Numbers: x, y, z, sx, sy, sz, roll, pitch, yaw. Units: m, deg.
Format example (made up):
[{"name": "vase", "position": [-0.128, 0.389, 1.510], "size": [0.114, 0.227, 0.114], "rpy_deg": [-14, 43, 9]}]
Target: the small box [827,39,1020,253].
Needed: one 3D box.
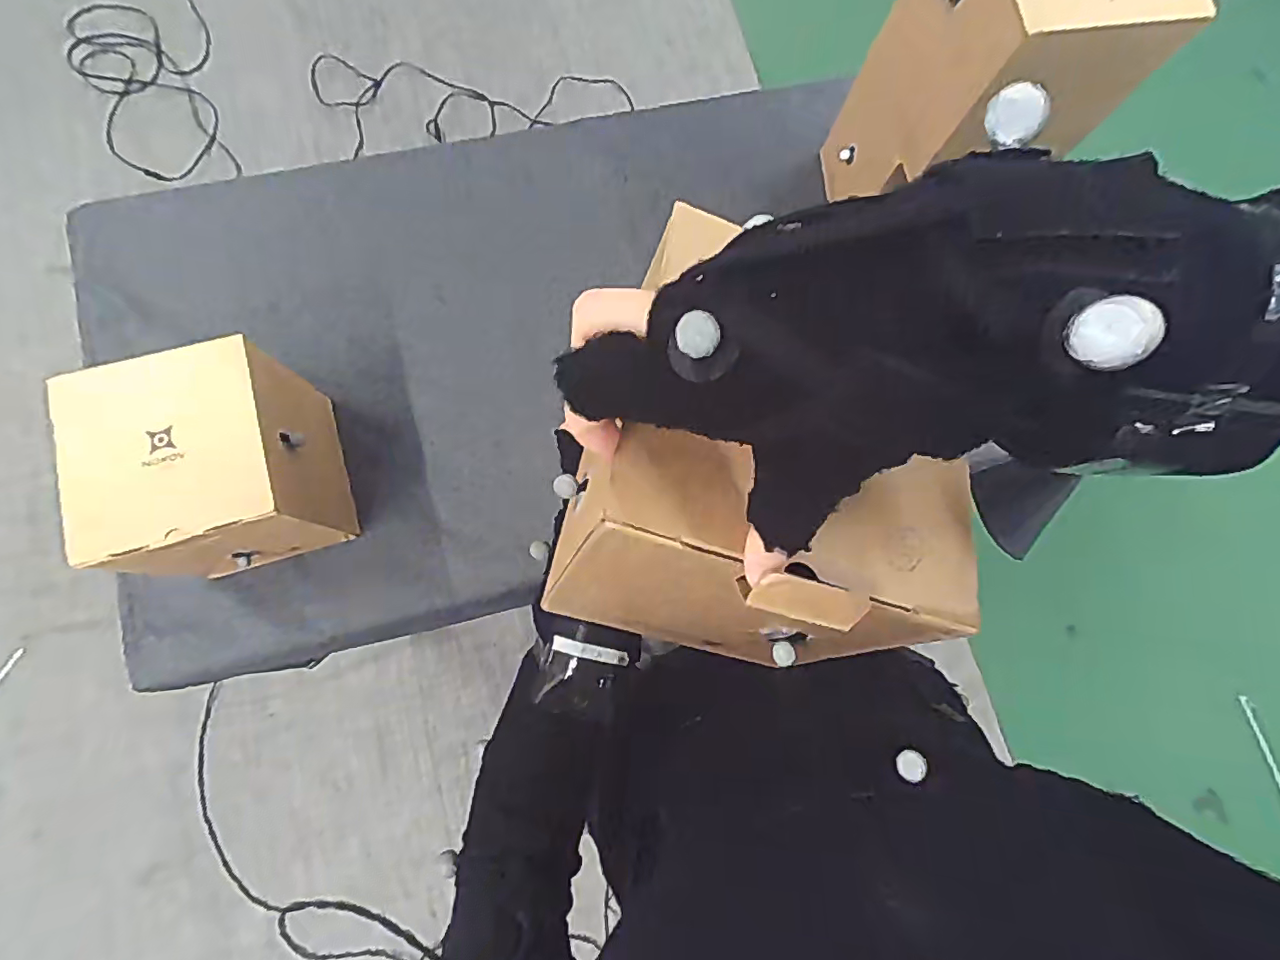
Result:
[{"name": "small box", "position": [0.350, -0.406, 0.679], "size": [0.179, 0.176, 0.168], "rpy_deg": [-3, 79, -4]}]

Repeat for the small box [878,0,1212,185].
[{"name": "small box", "position": [0.355, -0.420, 0.515], "size": [0.168, 0.176, 0.179], "rpy_deg": [-9, 80, -5]}]

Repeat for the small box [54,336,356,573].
[{"name": "small box", "position": [-0.417, -0.014, 0.547], "size": [0.168, 0.176, 0.179], "rpy_deg": [-16, 80, -8]}]

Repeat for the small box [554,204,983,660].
[{"name": "small box", "position": [0.055, -0.006, 0.311], "size": [0.168, 0.176, 0.179], "rpy_deg": [18, 62, -10]}]
